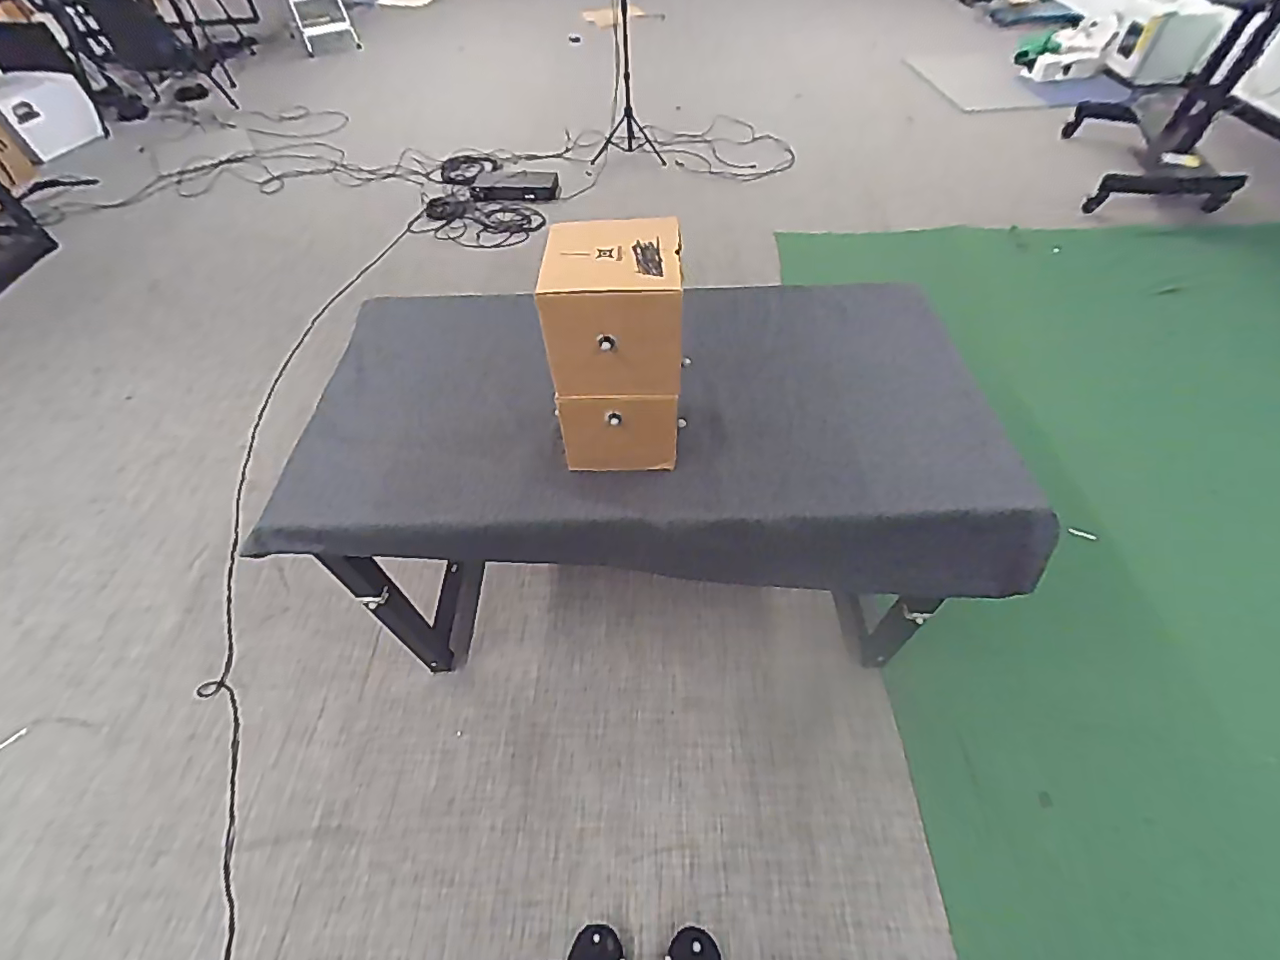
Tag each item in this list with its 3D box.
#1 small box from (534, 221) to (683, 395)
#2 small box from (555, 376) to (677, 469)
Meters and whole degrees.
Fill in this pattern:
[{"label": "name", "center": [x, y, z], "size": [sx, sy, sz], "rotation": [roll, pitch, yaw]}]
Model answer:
[{"label": "small box", "center": [-0.032, -0.230, 0.740], "size": [0.179, 0.176, 0.168], "rotation": [0, 53, 3]}, {"label": "small box", "center": [-0.031, -0.129, 0.870], "size": [0.179, 0.176, 0.168], "rotation": [0, 53, 1]}]
